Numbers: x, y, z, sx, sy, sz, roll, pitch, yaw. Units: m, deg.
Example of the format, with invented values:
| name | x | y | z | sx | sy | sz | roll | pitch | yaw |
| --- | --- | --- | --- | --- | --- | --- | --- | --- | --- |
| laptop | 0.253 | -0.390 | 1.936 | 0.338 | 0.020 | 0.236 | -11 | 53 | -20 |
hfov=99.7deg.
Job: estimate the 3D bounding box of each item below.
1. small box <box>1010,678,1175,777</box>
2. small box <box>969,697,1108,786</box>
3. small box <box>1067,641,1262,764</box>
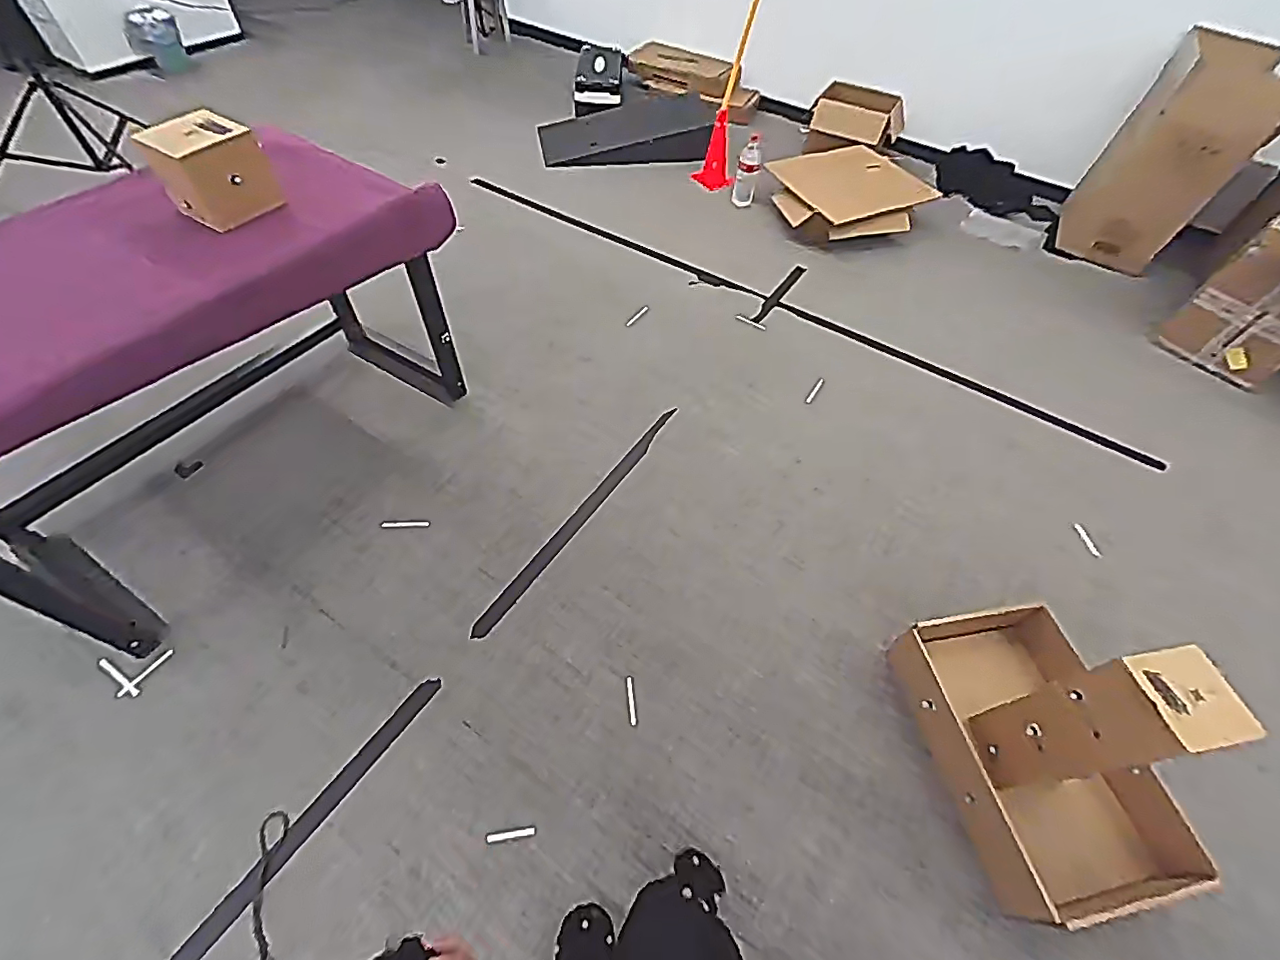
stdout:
| name | x | y | z | sx | sy | sz | roll | pitch | yaw |
| --- | --- | --- | --- | --- | --- | --- | --- | --- | --- |
| small box | 0.950 | 0.522 | 1.154 | 0.179 | 0.176 | 0.168 | -6 | 54 | -8 |
| small box | 0.937 | 0.616 | 1.285 | 0.179 | 0.176 | 0.168 | -4 | 54 | -8 |
| small box | 0.966 | 0.423 | 1.023 | 0.179 | 0.176 | 0.168 | -5 | 54 | -10 |
